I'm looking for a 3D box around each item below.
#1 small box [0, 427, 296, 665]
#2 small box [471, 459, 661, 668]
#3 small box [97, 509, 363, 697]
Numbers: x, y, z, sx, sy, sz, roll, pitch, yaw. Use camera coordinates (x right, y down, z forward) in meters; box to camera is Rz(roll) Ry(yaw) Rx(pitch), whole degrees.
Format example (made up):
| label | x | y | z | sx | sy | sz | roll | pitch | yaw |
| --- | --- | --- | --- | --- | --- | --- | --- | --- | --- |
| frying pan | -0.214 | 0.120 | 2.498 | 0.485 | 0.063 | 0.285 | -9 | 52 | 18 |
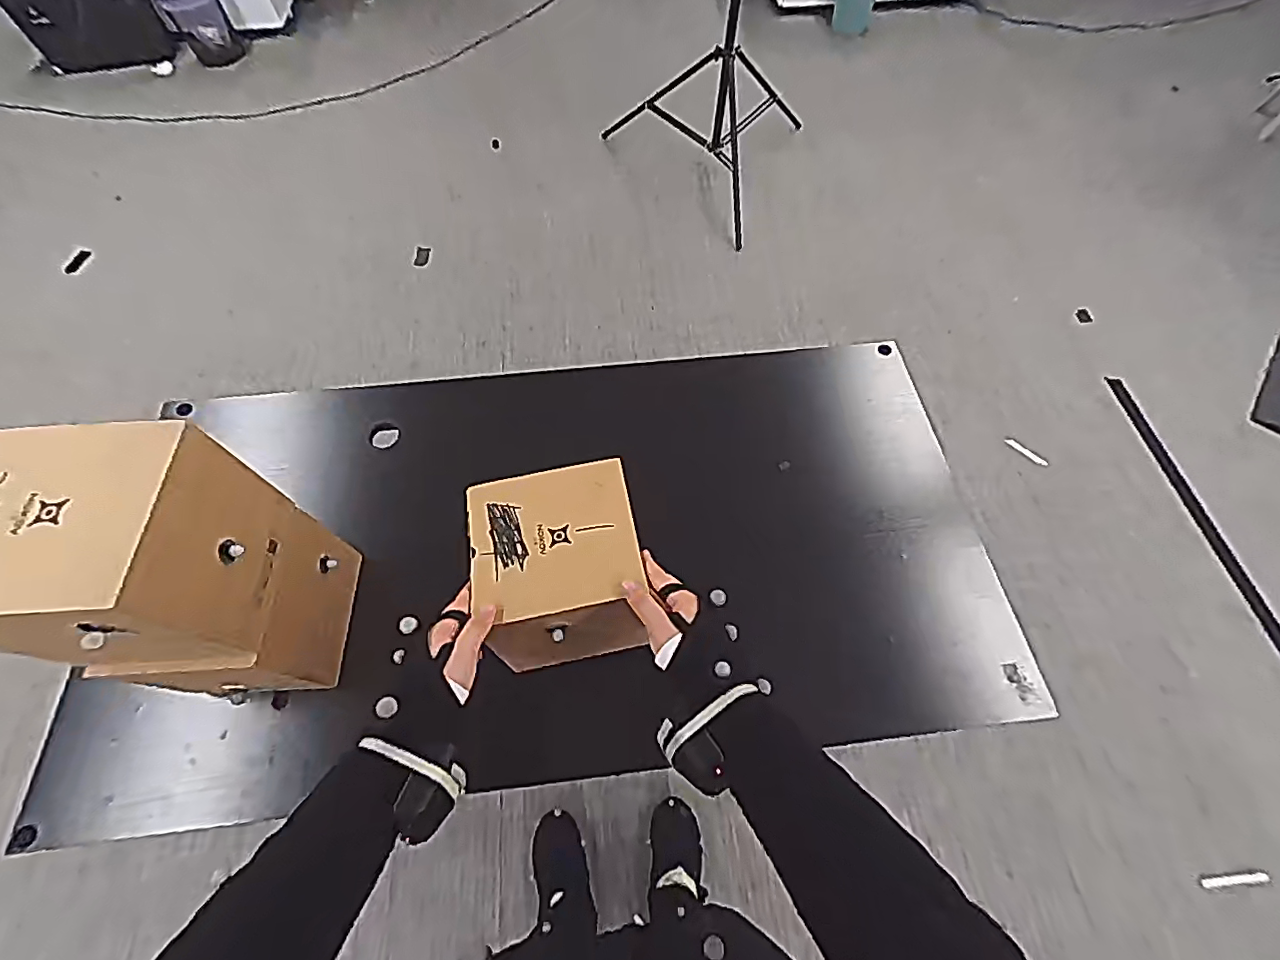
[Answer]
| label | x | y | z | sx | sy | sz | roll | pitch | yaw |
| --- | --- | --- | --- | --- | --- | --- | --- | --- | --- |
| small box | -0.457 | 0.068 | 0.493 | 0.179 | 0.176 | 0.168 | -4 | 62 | -1 |
| small box | -0.079 | 0.103 | 0.621 | 0.179 | 0.176 | 0.168 | -12 | 58 | -2 |
| small box | -0.452 | 0.150 | 0.636 | 0.168 | 0.176 | 0.179 | -4 | 63 | -1 |
